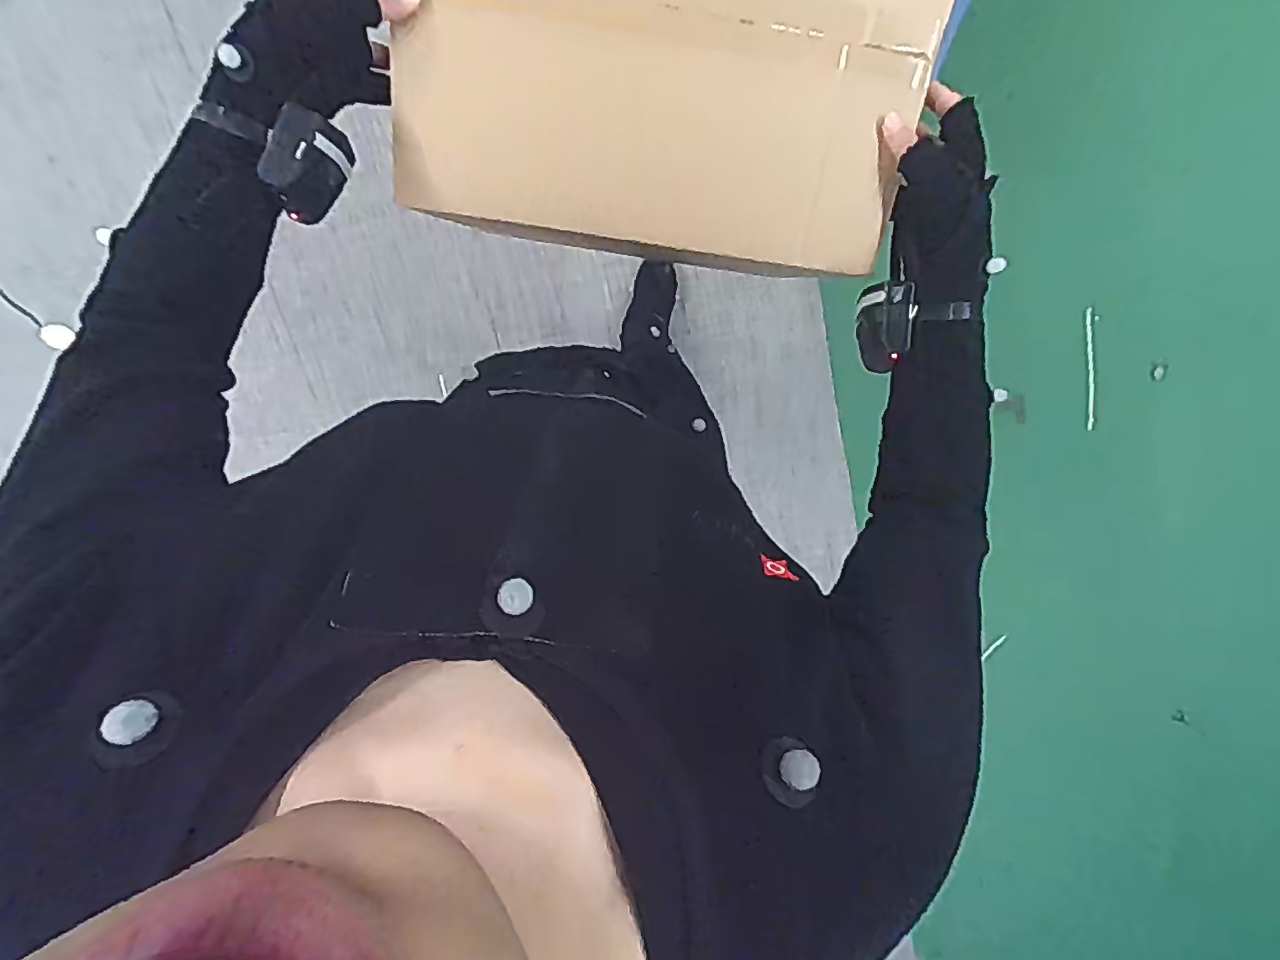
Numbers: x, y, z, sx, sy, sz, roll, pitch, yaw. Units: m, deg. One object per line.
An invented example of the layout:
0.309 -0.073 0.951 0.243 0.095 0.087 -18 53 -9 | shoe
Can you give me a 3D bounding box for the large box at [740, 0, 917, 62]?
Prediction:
0.328 -1.003 0.881 0.408 0.320 0.320 22 101 -7 | large box
